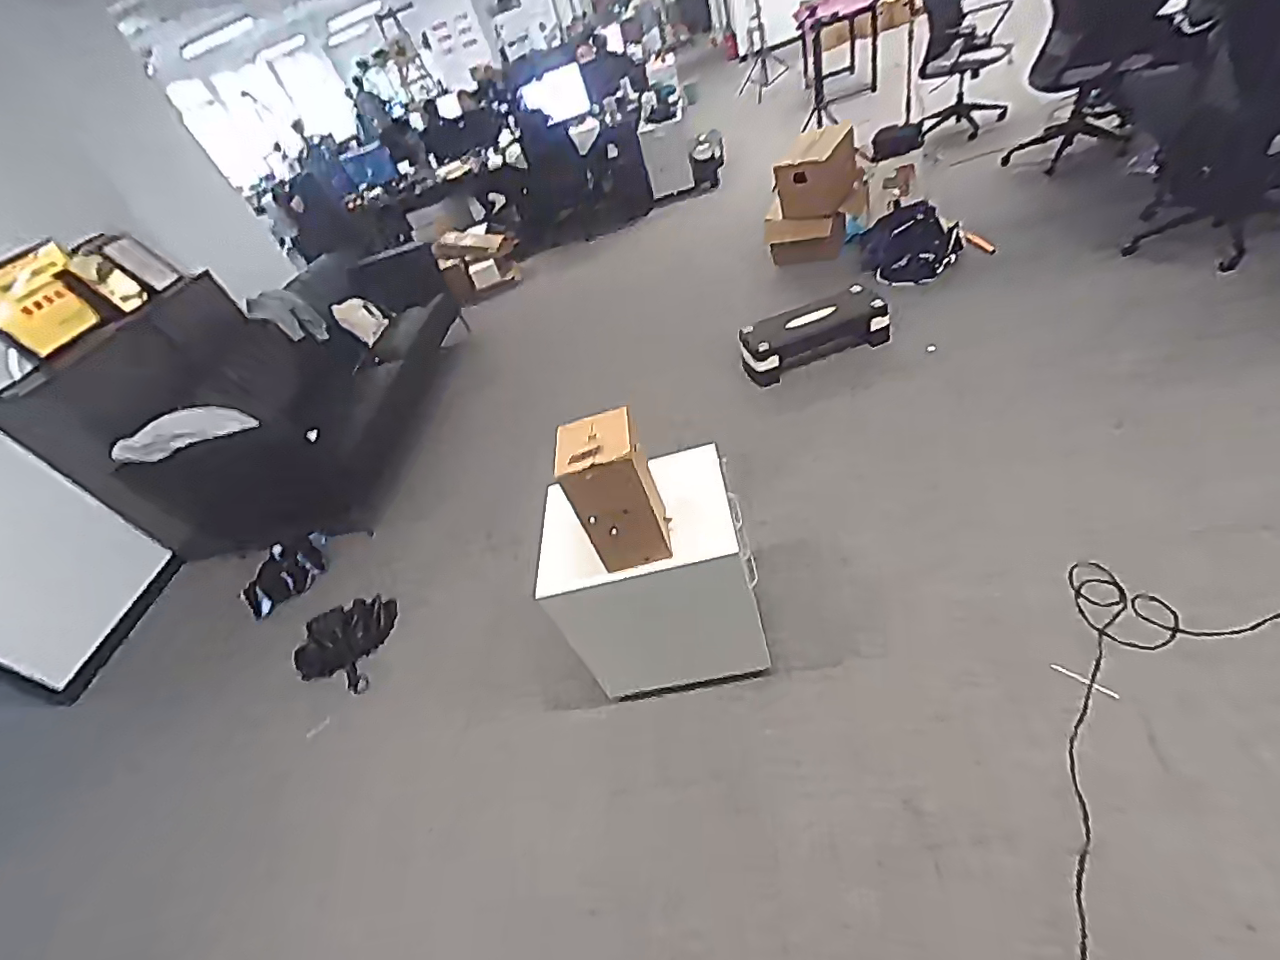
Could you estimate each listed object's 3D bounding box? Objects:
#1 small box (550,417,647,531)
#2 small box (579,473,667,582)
[{"bbox_3d":[-0.089,-0.006,1.194,0.168,0.176,0.179,-16,38,7],"label":"small box"},{"bbox_3d":[-0.041,0.113,1.298,0.168,0.176,0.179,-17,38,7],"label":"small box"}]
